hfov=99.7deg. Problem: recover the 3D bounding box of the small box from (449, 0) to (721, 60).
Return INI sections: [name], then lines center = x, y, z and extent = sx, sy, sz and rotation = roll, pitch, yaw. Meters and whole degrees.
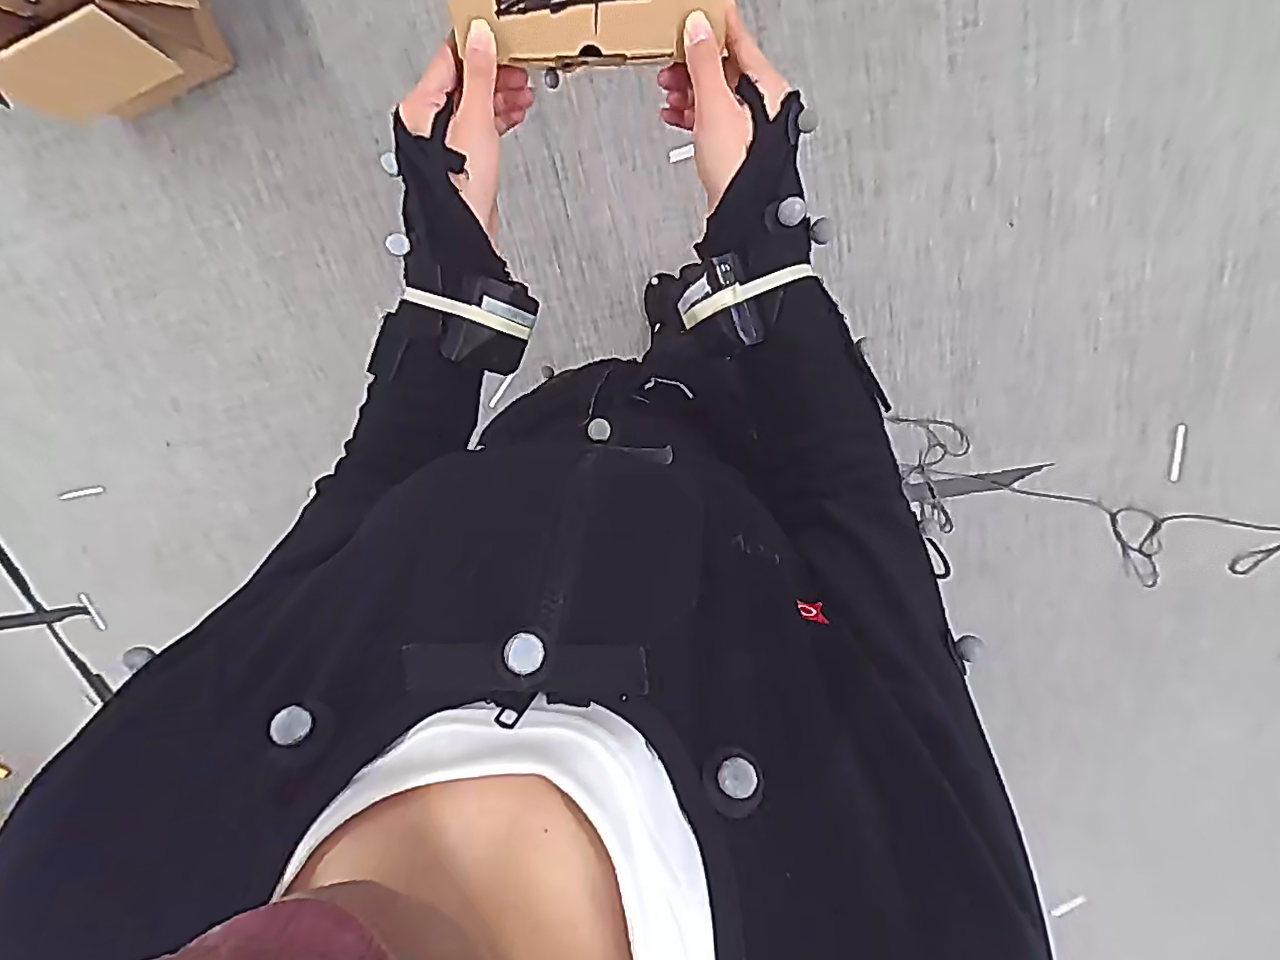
[small box]
center = -0.028, -0.379, 0.345
extent = 0.168, 0.176, 0.179
rotation = 1, 126, 3
